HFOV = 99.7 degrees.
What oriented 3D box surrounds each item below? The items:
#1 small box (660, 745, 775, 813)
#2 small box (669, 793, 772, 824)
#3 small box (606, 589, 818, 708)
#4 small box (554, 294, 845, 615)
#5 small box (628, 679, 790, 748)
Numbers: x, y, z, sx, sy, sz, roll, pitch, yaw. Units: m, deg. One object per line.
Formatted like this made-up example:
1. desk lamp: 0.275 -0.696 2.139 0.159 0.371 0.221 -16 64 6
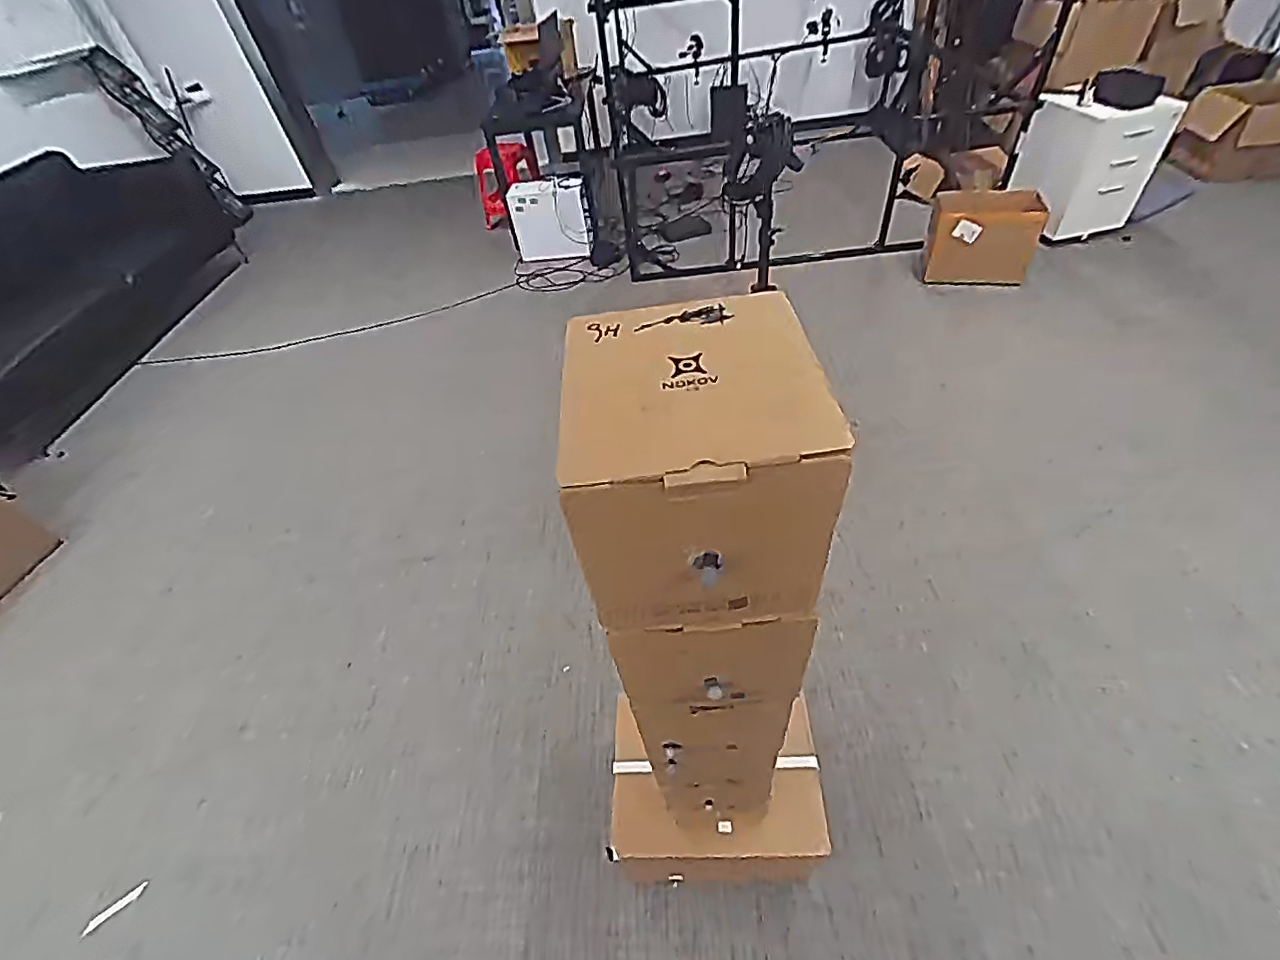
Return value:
1. small box: 0.120 0.428 0.891 0.168 0.176 0.179 -5 48 4
2. small box: 0.143 0.532 1.014 0.179 0.176 0.168 -5 48 3
3. small box: 0.062 0.101 0.527 0.168 0.176 0.179 -6 48 4
4. small box: 0.039 -0.011 0.410 0.168 0.176 0.179 -7 48 3
5. small box: 0.081 0.210 0.649 0.168 0.176 0.179 -4 47 6
